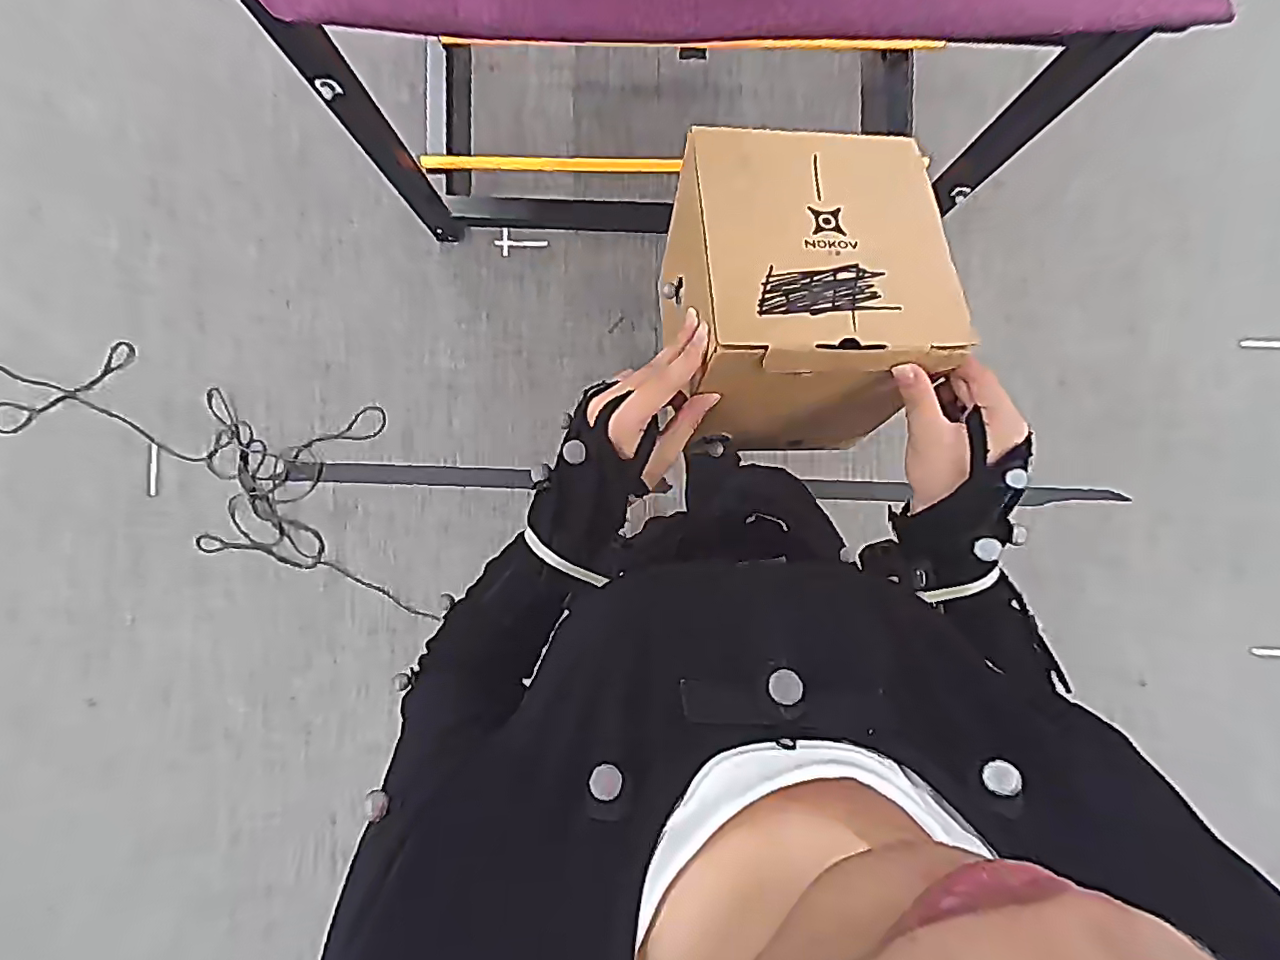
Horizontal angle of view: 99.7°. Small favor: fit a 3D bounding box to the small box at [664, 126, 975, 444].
[{"bbox_3d":[0.114,-0.134,0.423,0.168,0.176,0.179,-1,71,-6],"label":"small box"}]
